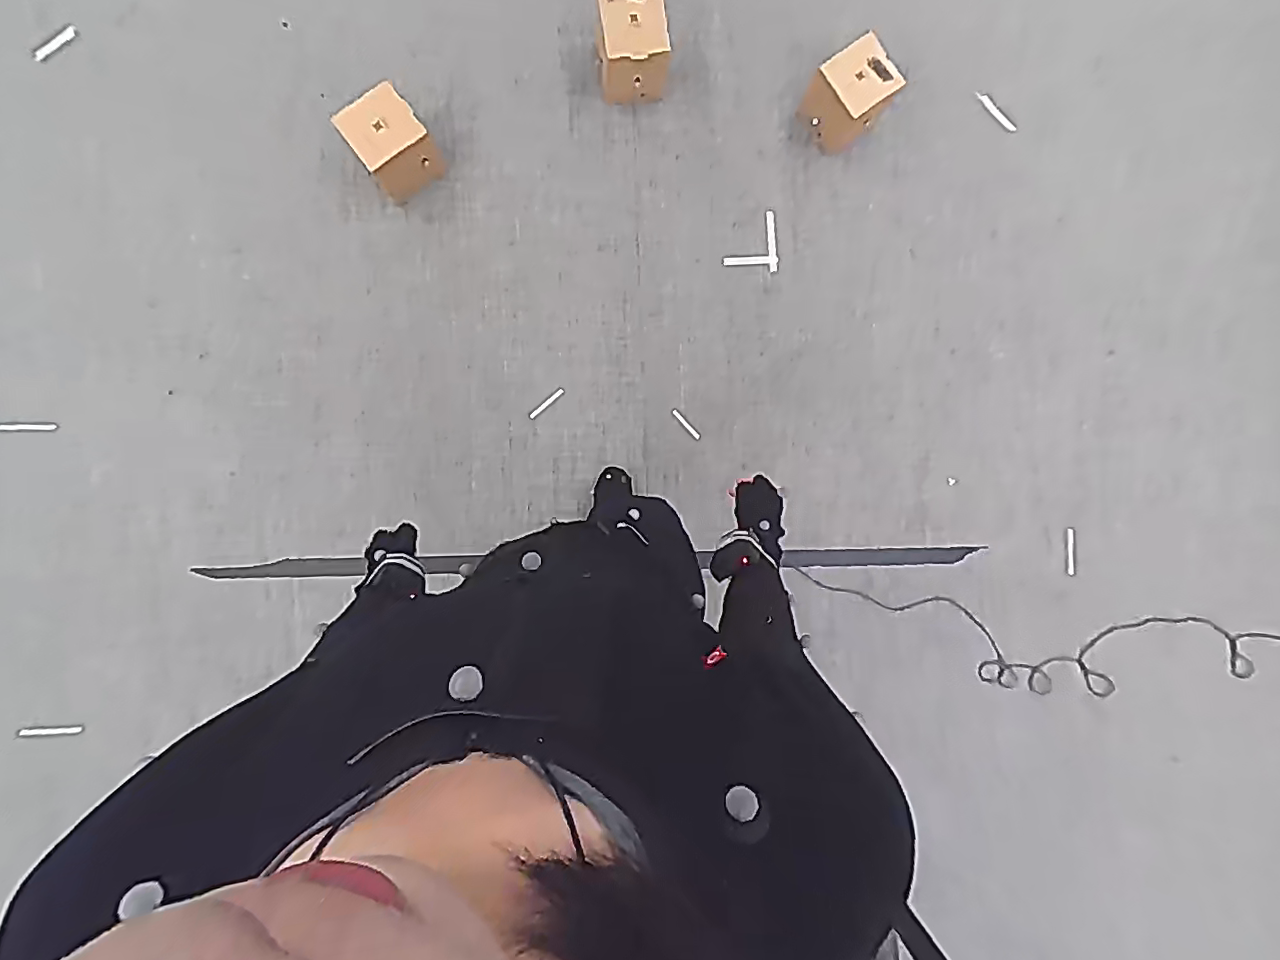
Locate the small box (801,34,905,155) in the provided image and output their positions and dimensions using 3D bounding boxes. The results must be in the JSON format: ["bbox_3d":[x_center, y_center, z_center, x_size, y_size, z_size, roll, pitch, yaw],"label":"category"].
[{"bbox_3d":[0.577,-1.049,1.486,0.179,0.176,0.168,-35,92,-2],"label":"small box"}]

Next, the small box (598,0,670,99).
[{"bbox_3d":[-0.020,-1.154,1.444,0.168,0.176,0.179,-9,92,-5],"label":"small box"}]

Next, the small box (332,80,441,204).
[{"bbox_3d":[-0.641,-0.866,1.401,0.179,0.176,0.168,-38,91,-2],"label":"small box"}]
